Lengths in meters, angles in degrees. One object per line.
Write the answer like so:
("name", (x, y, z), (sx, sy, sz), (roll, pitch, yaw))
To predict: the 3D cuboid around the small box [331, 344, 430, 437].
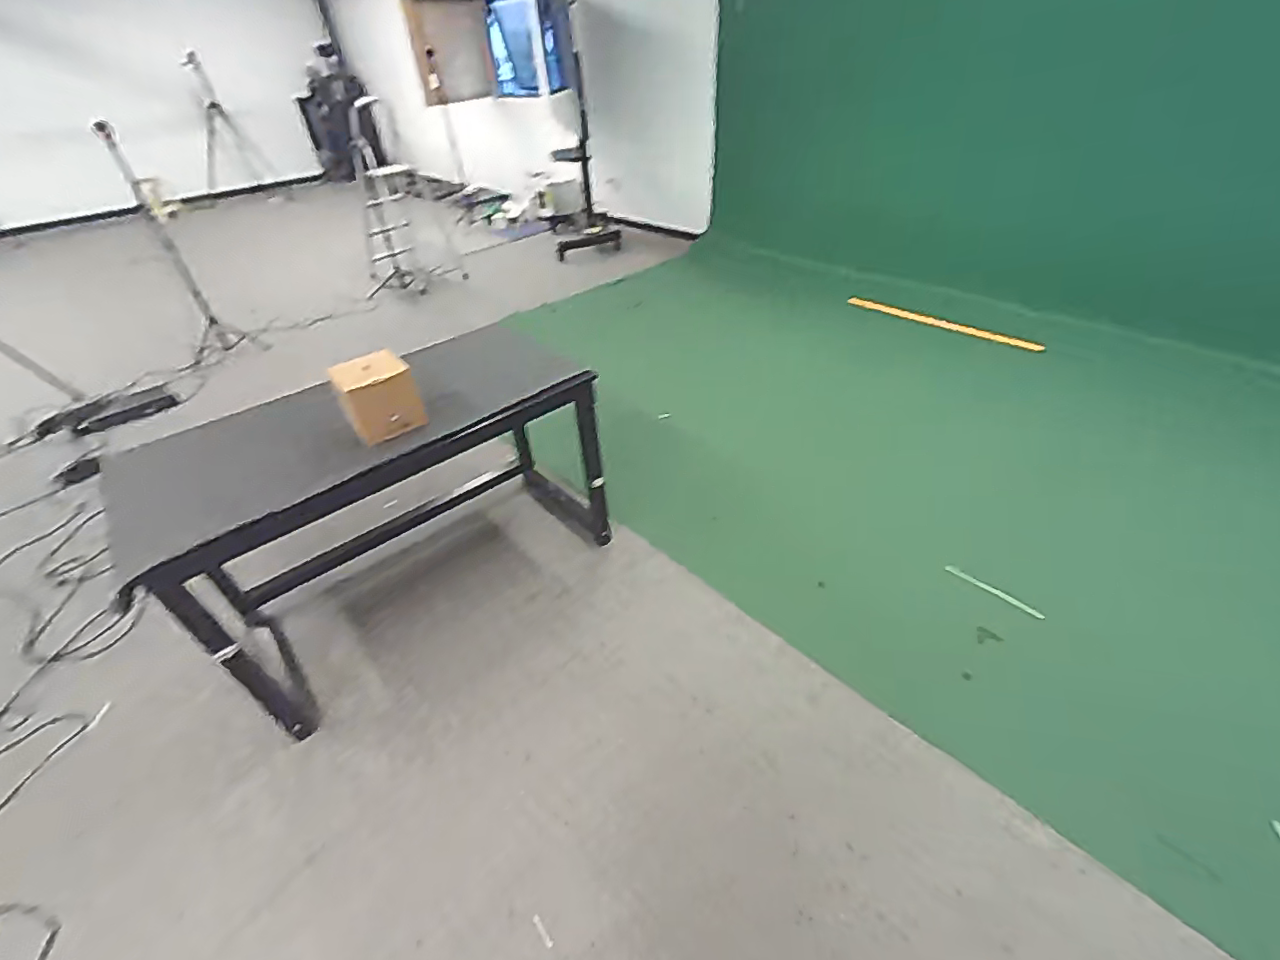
("small box", (-0.695, -0.241, 1.455), (0.168, 0.176, 0.179), (-30, 46, -28))
